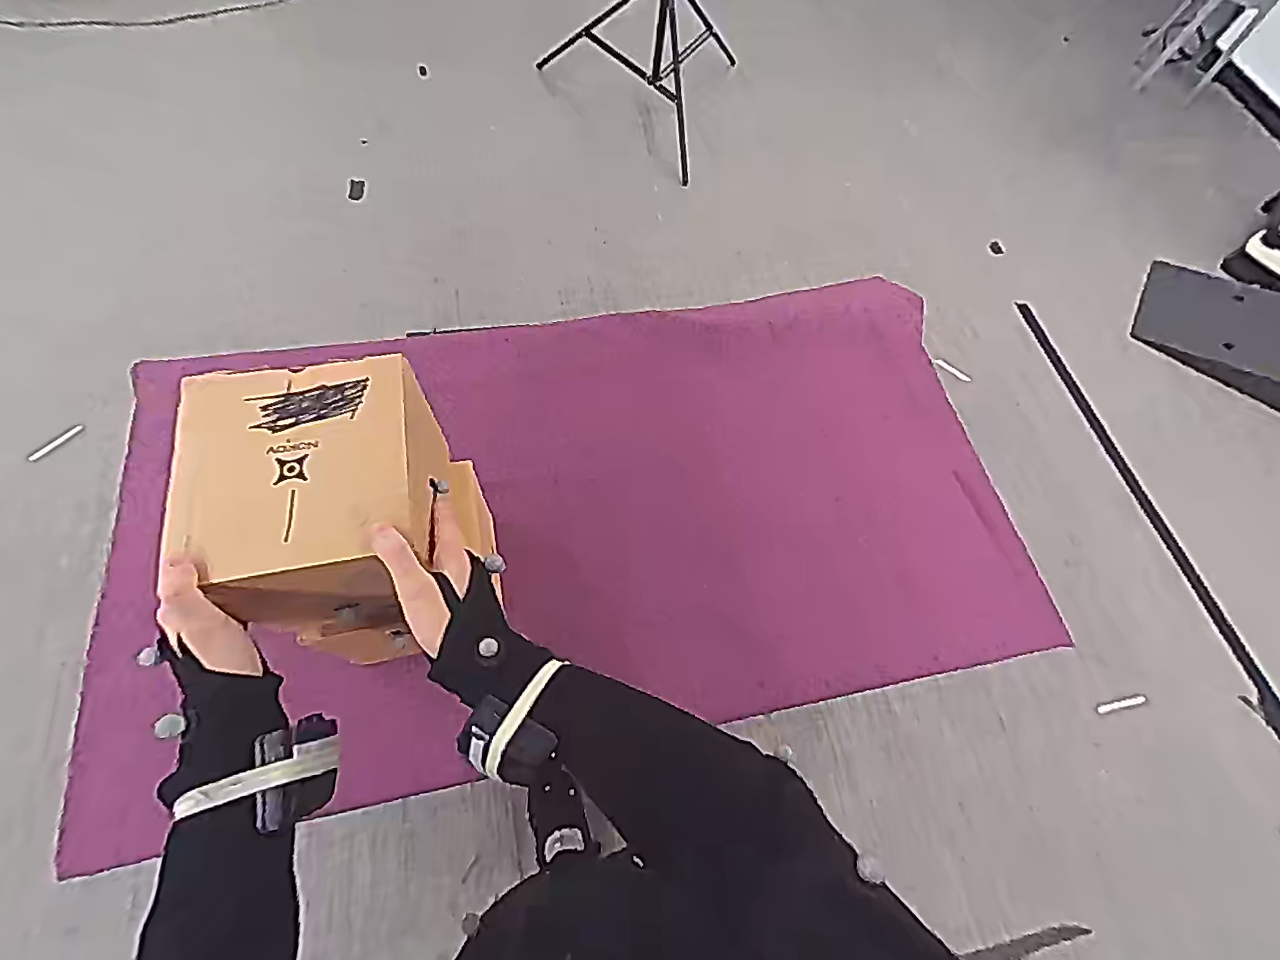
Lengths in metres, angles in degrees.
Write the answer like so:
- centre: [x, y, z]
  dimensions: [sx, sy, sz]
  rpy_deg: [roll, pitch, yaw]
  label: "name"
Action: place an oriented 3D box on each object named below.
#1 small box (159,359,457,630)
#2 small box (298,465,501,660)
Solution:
- centre: [-0.267, 0.020, 0.480]
  dimensions: [0.168, 0.176, 0.179]
  rpy_deg: [-9, 67, -10]
  label: "small box"
- centre: [-0.262, 0.101, 0.625]
  dimensions: [0.179, 0.176, 0.168]
  rpy_deg: [-10, 67, -10]
  label: "small box"
